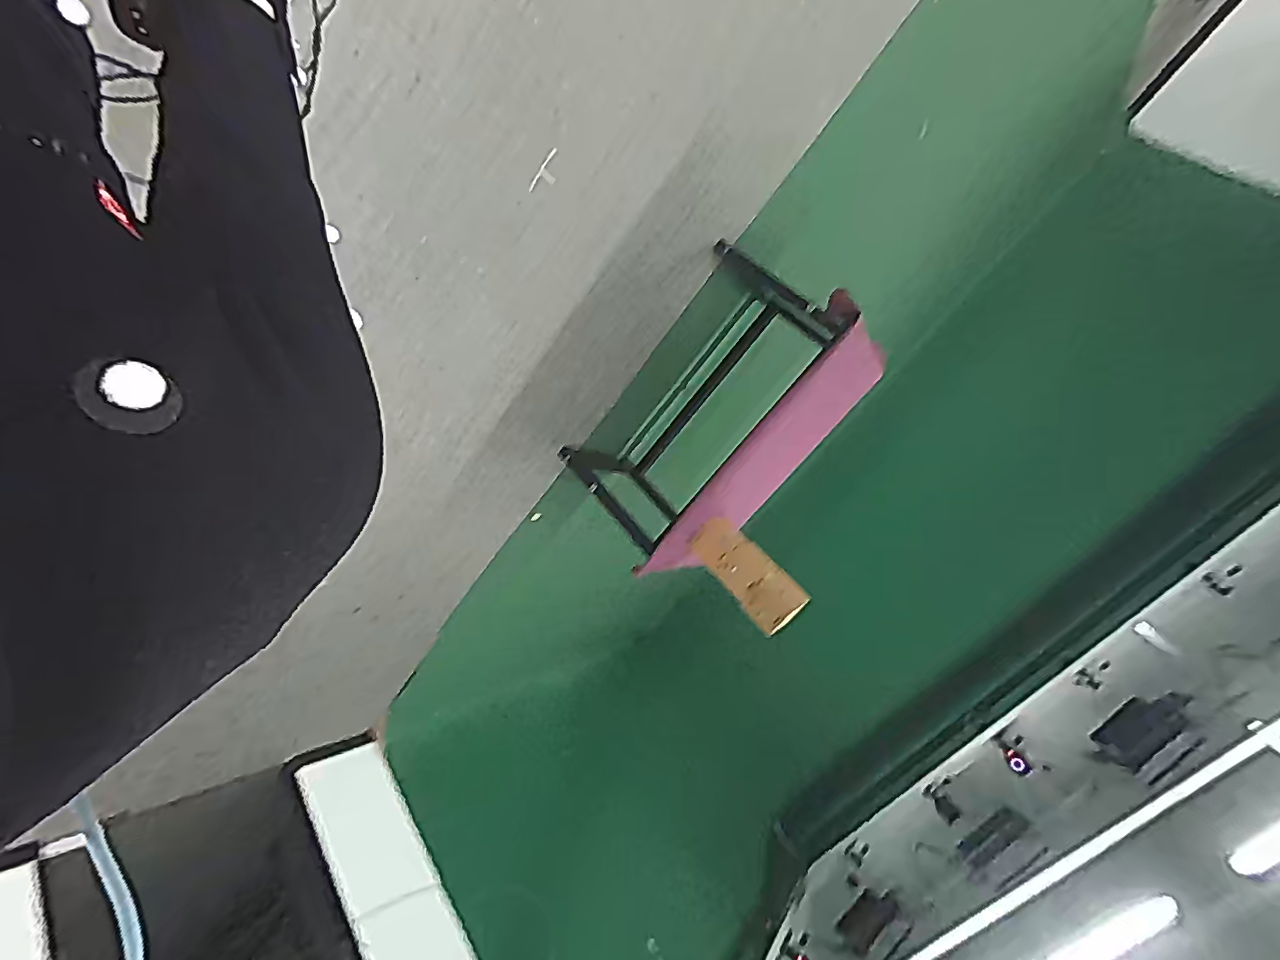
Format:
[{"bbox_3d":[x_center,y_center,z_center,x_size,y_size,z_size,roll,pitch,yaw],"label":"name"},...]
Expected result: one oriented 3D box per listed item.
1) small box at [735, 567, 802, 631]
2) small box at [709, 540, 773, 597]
[{"bbox_3d":[0.523,0.483,2.220,0.179,0.176,0.168,-10,141,-51],"label":"small box"},{"bbox_3d":[0.427,0.368,2.285,0.168,0.176,0.179,-52,154,19],"label":"small box"}]
